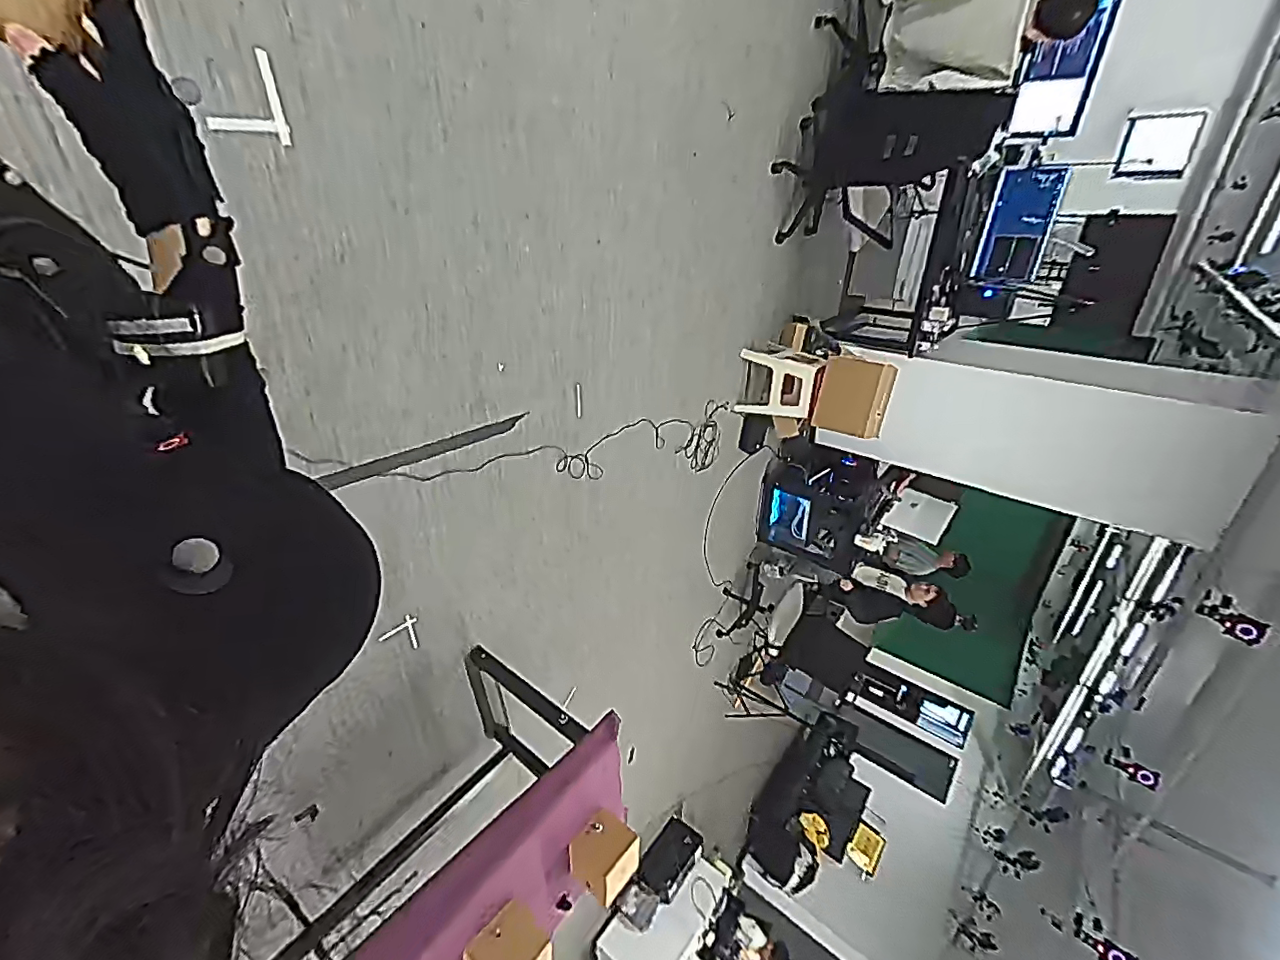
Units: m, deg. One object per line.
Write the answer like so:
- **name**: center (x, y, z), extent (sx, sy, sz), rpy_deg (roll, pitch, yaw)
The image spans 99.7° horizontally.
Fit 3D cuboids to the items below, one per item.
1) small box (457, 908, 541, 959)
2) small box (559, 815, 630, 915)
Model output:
- **small box**: center (-0.394, 1.350, 1.486), extent (0.179, 0.176, 0.168), rpy_deg (-22, 125, -47)
- **small box**: center (-0.152, 1.259, 1.781), extent (0.168, 0.176, 0.179), rpy_deg (-28, 128, -46)
